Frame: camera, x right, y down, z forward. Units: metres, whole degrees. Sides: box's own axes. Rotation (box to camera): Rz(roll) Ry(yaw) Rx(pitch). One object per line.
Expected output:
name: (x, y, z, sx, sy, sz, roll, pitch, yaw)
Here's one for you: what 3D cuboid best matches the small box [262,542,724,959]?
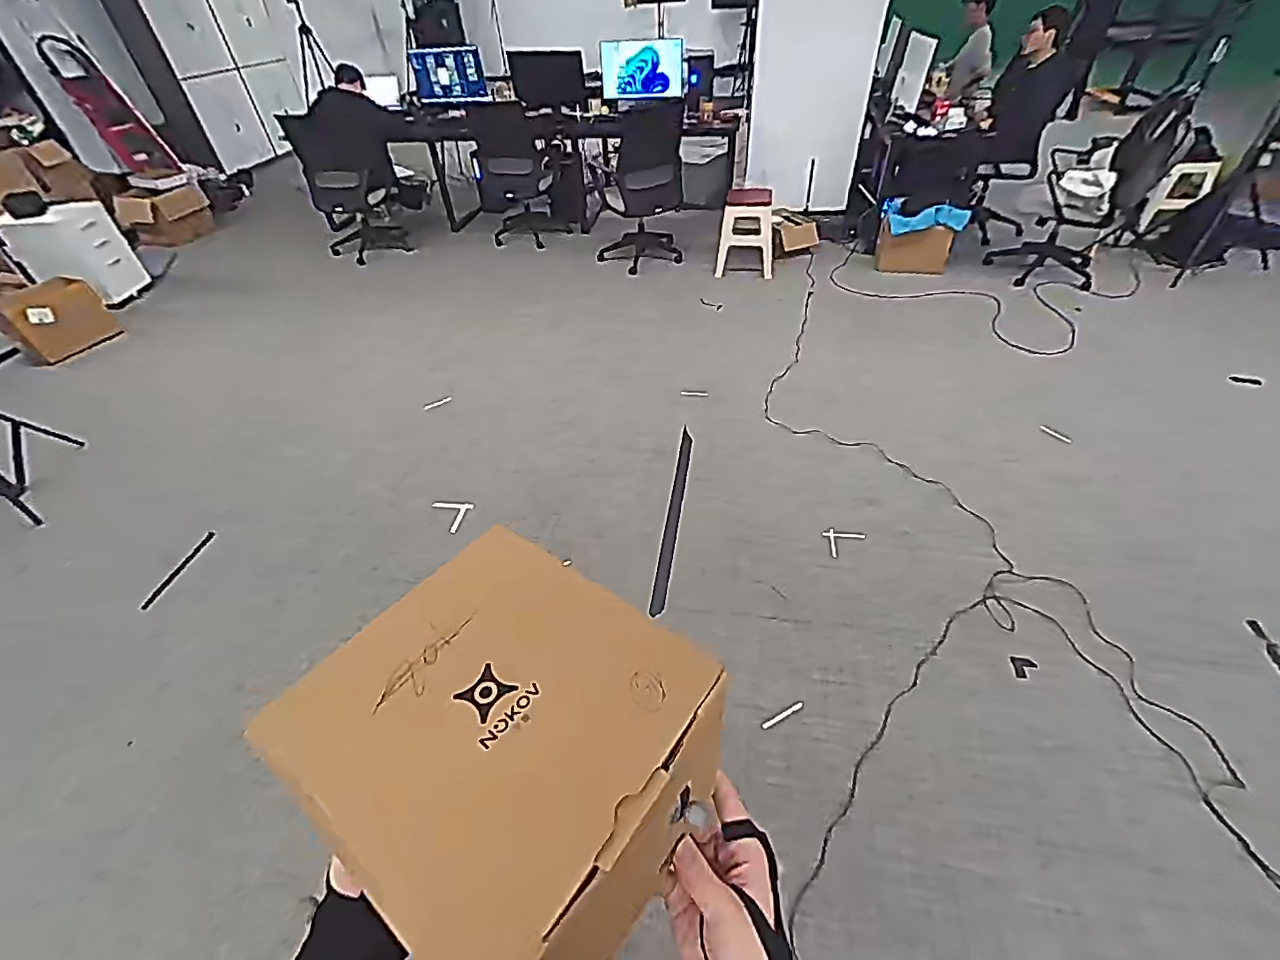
small box: (-0.067, 0.175, 0.326, 0.179, 0.176, 0.168, 23, 47, 28)
